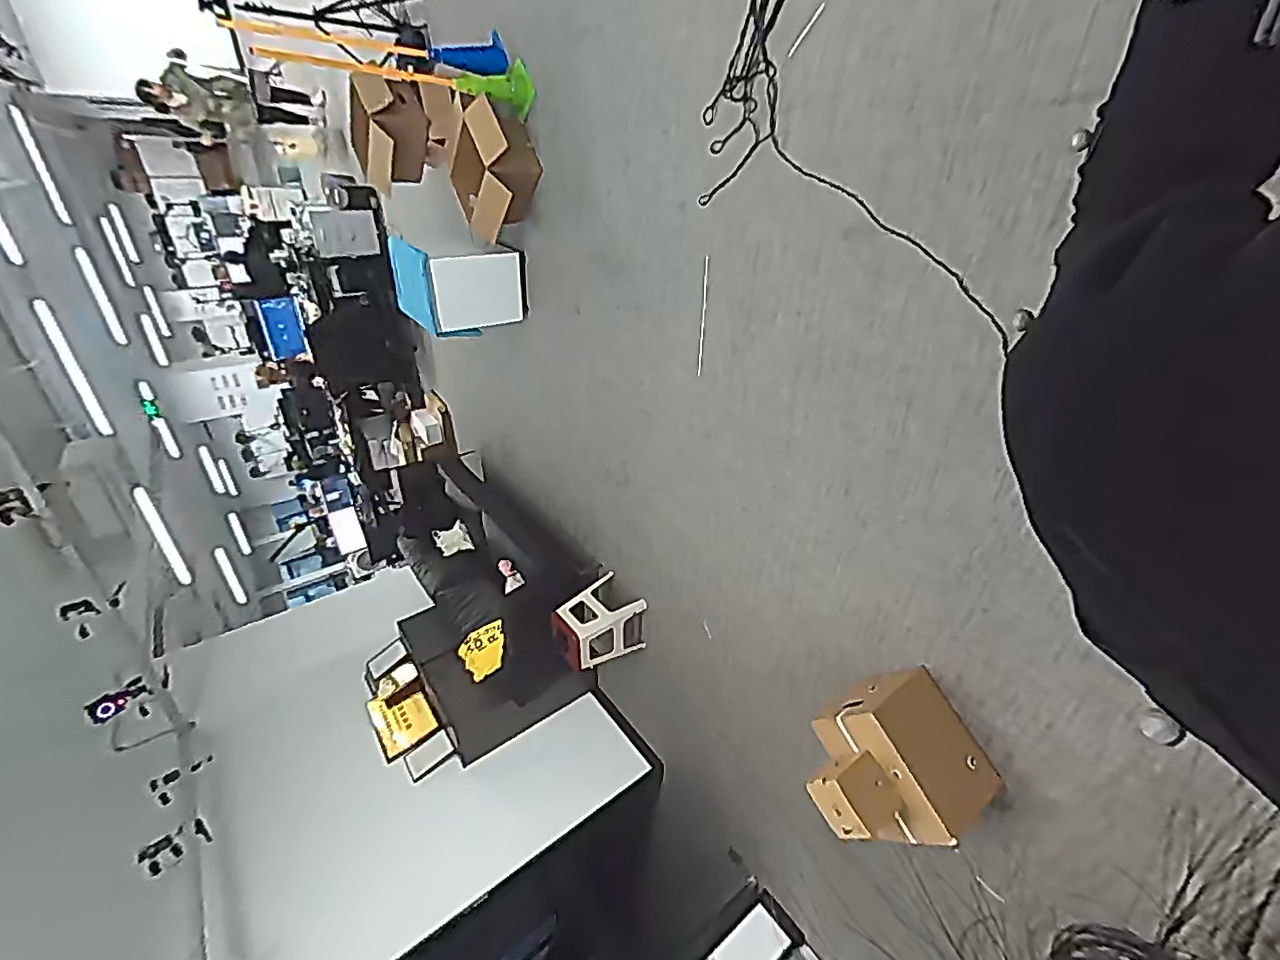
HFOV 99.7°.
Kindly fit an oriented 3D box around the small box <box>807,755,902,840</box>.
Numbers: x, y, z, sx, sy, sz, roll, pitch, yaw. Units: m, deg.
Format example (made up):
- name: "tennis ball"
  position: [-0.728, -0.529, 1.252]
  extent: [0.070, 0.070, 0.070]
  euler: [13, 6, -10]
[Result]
- name: "small box"
  position: [0.664, 0.980, 1.676]
  extent: [0.179, 0.176, 0.168]
  euler: [58, 147, 20]
